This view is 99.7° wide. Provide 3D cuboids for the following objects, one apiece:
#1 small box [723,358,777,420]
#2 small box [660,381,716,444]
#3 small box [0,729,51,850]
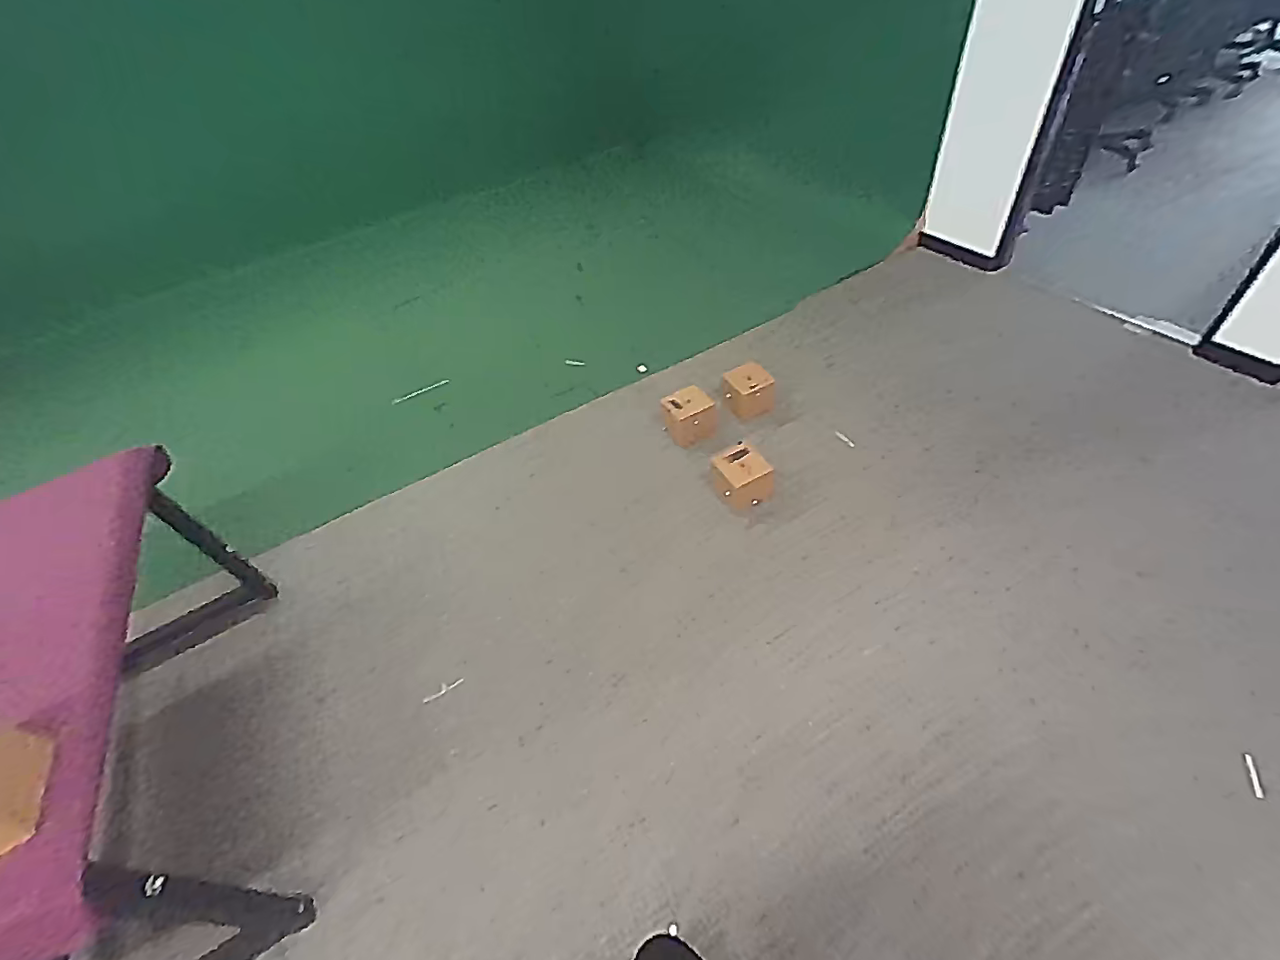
[{"bbox_3d":[0.471,-0.391,2.332,0.168,0.176,0.179,-25,48,-11],"label":"small box"},{"bbox_3d":[0.208,-0.280,2.282,0.179,0.176,0.168,-26,49,-13],"label":"small box"},{"bbox_3d":[-1.105,0.509,0.853,0.168,0.176,0.179,-29,49,-12],"label":"small box"}]
